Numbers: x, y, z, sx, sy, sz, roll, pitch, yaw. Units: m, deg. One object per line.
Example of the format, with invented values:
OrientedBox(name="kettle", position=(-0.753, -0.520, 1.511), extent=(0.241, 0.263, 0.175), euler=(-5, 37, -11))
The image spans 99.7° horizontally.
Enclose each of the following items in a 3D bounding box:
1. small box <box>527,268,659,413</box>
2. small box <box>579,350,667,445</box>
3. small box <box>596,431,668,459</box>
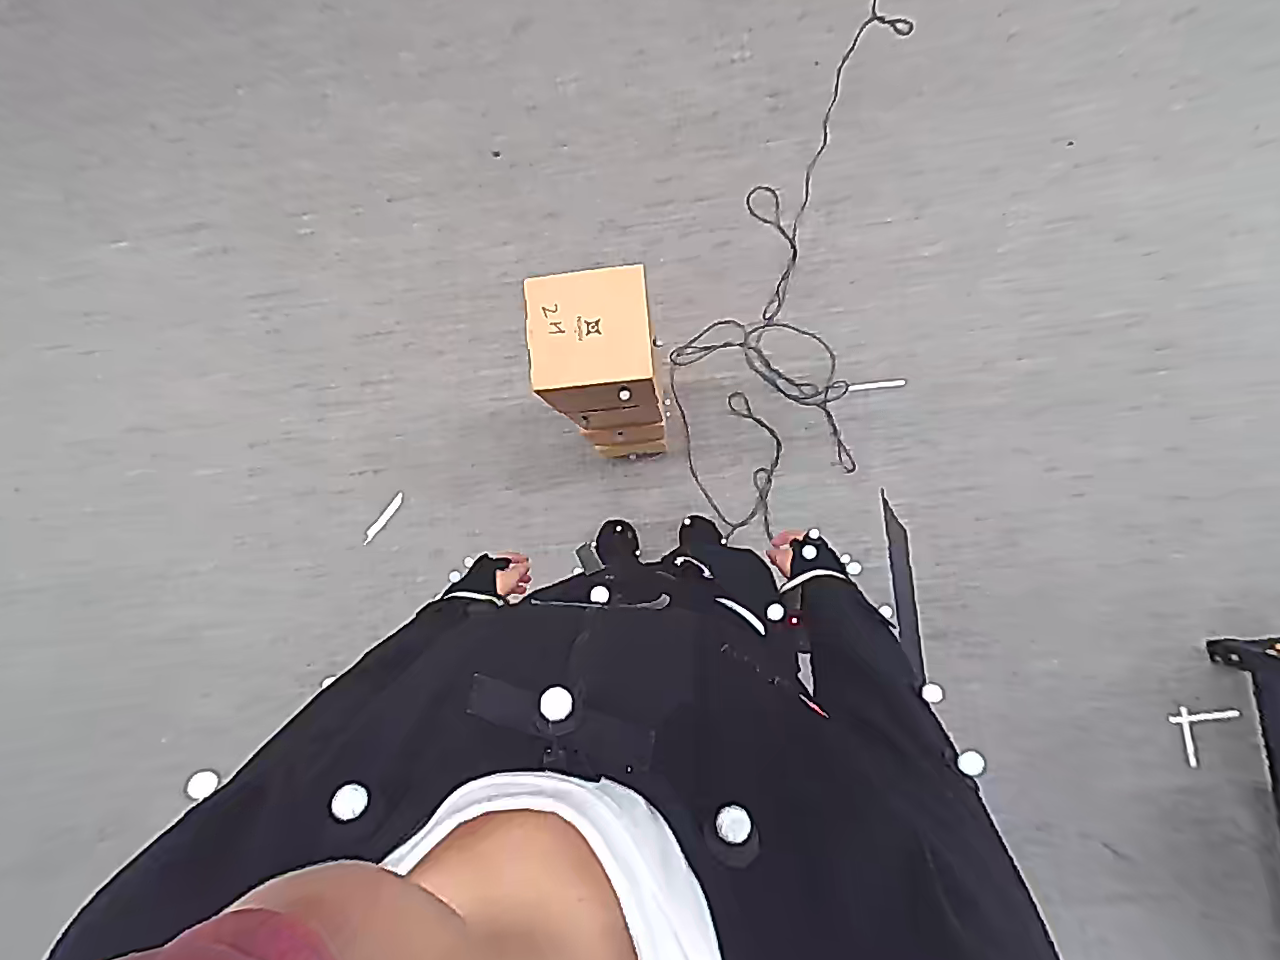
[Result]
OrientedBox(name="small box", position=(-0.063, -0.205, 0.838), extent=(0.179, 0.176, 0.168), euler=(-5, 85, 6))
OrientedBox(name="small box", position=(-0.033, -0.172, 1.166), extent=(0.179, 0.176, 0.168), euler=(-6, 86, 6))
OrientedBox(name="small box", position=(-0.020, -0.152, 1.326), extent=(0.168, 0.176, 0.179), euler=(-5, 87, 5))
